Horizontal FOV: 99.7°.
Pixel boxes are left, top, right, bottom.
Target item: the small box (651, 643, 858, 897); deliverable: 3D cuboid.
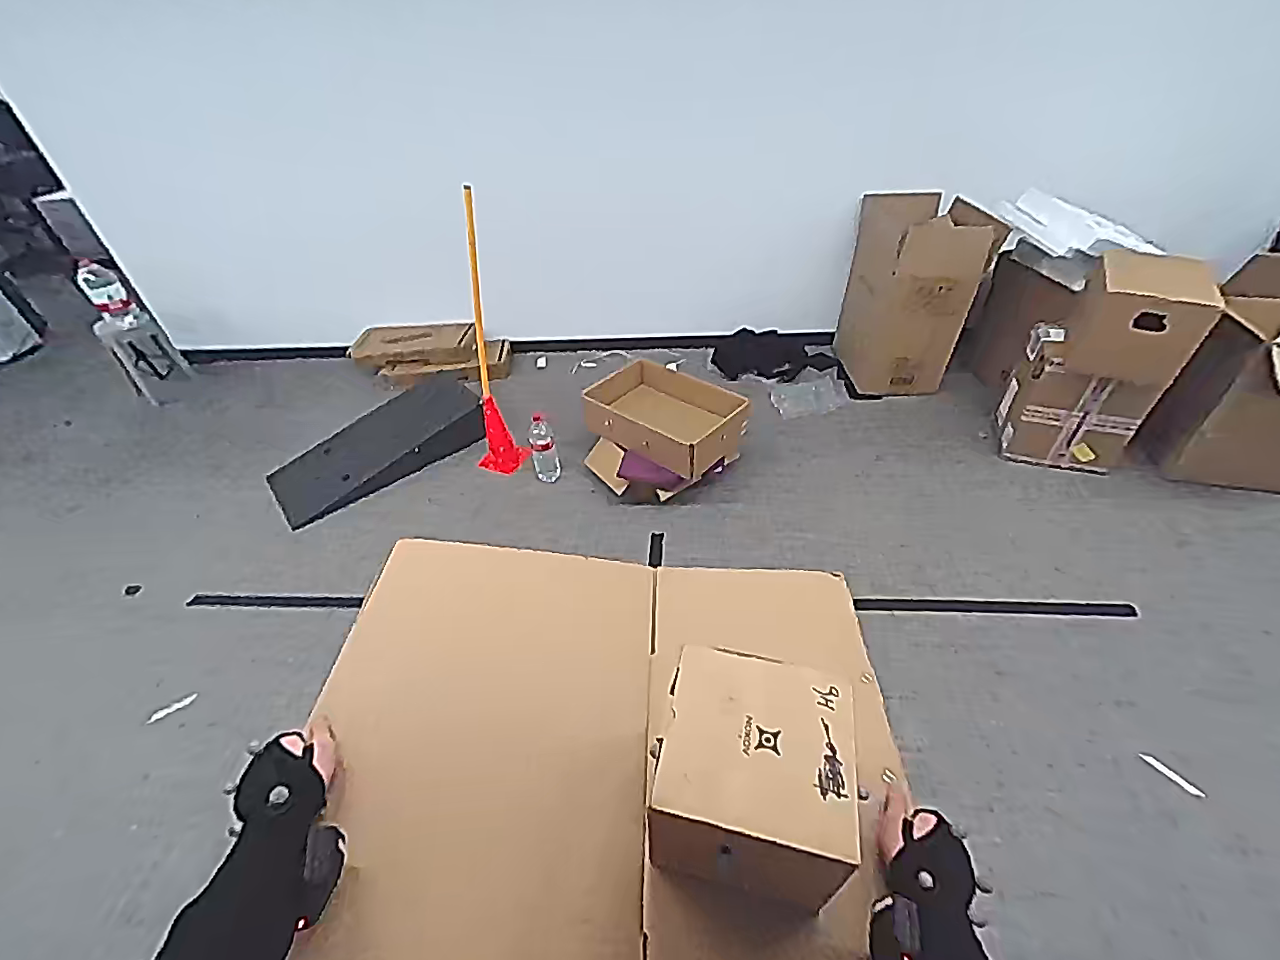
[{"bbox_3d":[0.116,0.300,0.562,0.179,0.176,0.168,8,43,12],"label":"small box"}]
